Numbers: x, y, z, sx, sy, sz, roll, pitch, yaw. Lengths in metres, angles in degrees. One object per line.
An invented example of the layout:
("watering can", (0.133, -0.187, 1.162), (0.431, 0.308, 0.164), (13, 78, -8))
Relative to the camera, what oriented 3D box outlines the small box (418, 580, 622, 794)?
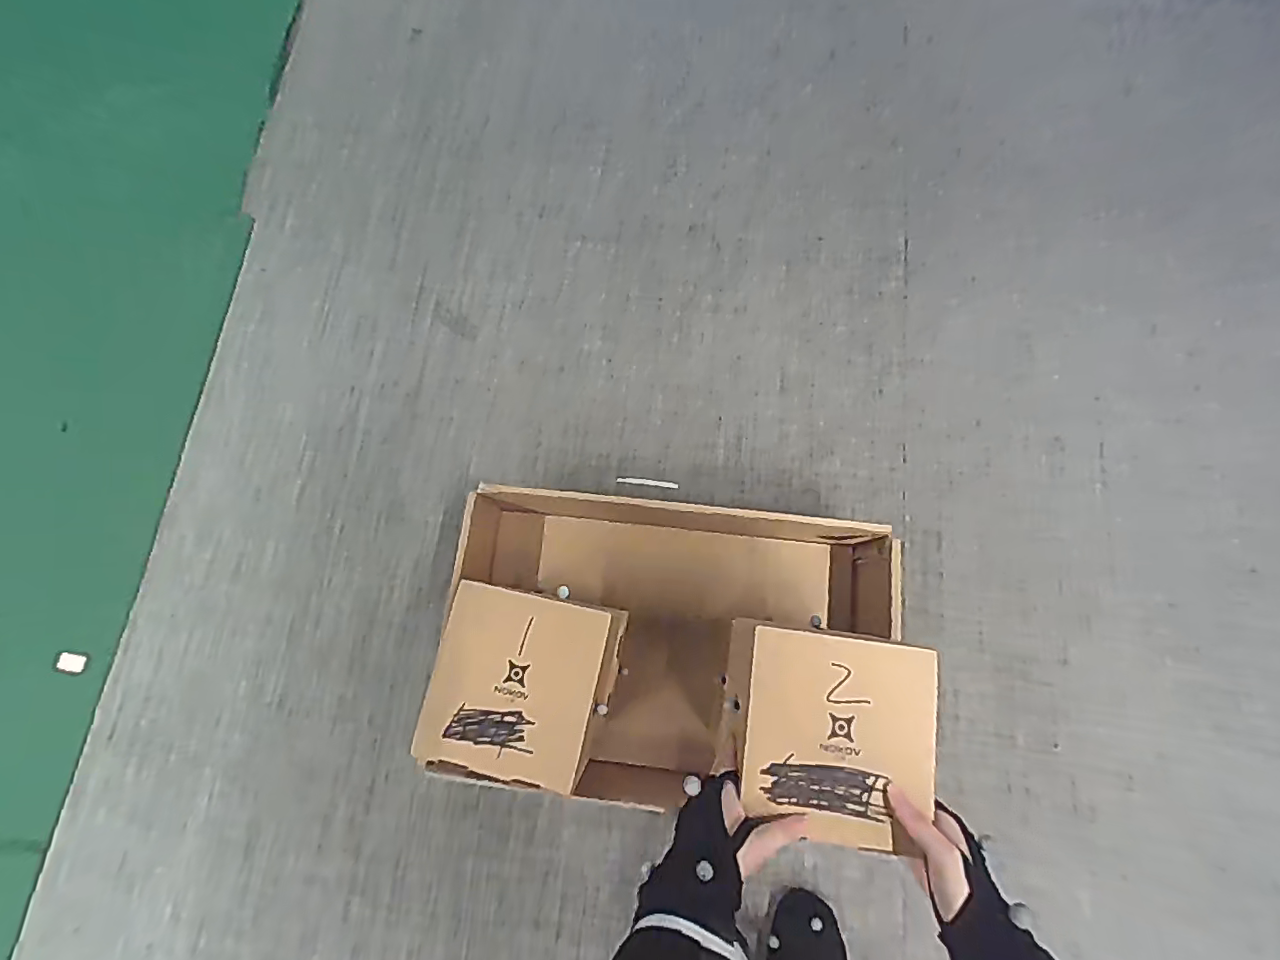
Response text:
("small box", (-0.119, 0.222, 0.620), (0.168, 0.176, 0.179), (12, 76, 4))
